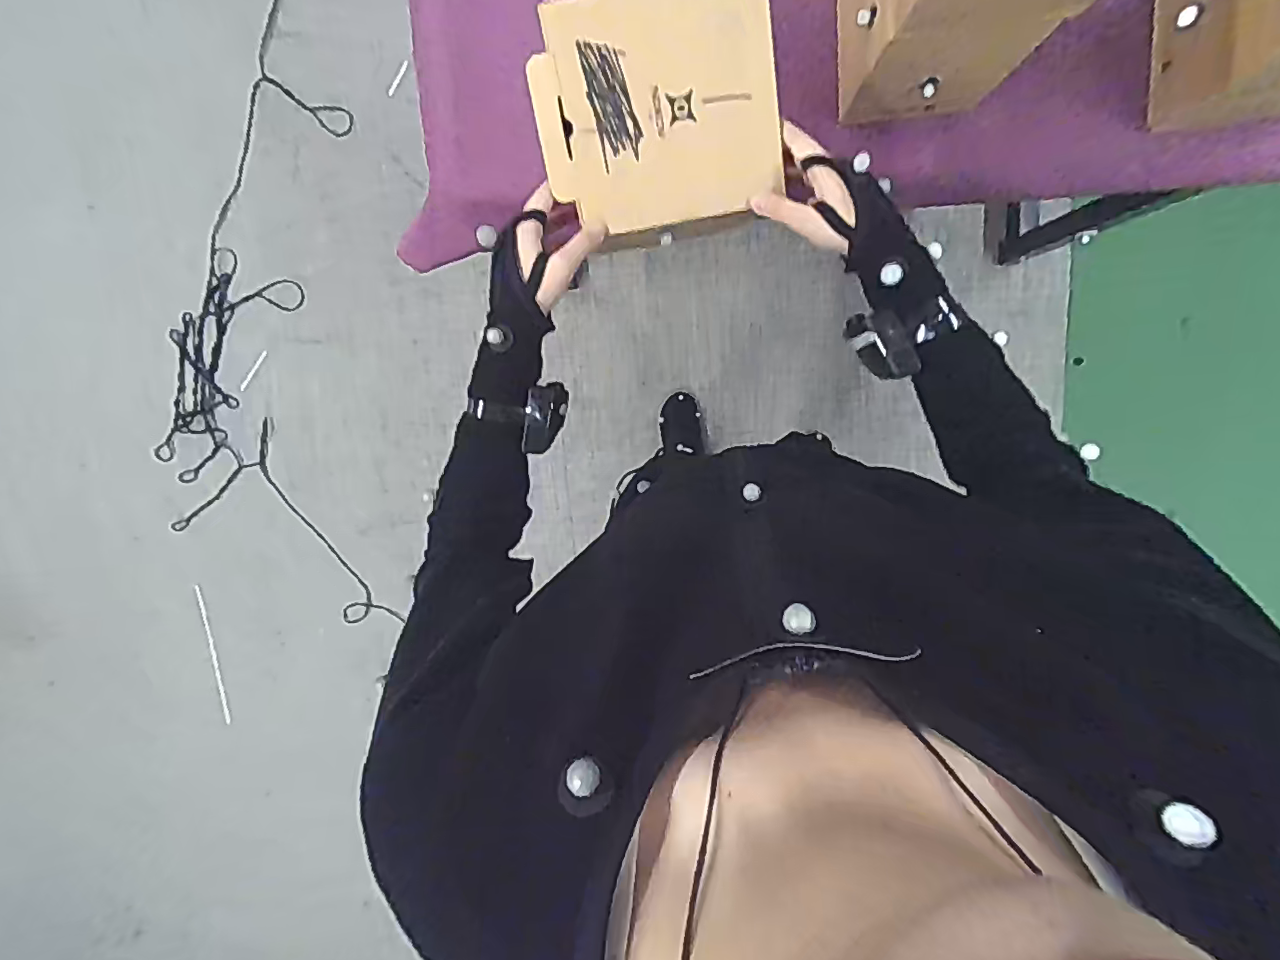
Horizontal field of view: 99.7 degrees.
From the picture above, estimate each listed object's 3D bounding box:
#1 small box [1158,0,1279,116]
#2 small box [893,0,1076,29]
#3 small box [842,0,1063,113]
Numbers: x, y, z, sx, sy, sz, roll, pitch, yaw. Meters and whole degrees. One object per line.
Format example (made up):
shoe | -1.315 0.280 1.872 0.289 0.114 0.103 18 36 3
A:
small box | 0.705 -0.512 0.559 0.179 0.176 0.168 -4 100 7
small box | 0.317 -0.505 0.430 0.179 0.176 0.168 -3 99 6
small box | 0.327 -0.534 0.591 0.168 0.176 0.179 -4 98 6
